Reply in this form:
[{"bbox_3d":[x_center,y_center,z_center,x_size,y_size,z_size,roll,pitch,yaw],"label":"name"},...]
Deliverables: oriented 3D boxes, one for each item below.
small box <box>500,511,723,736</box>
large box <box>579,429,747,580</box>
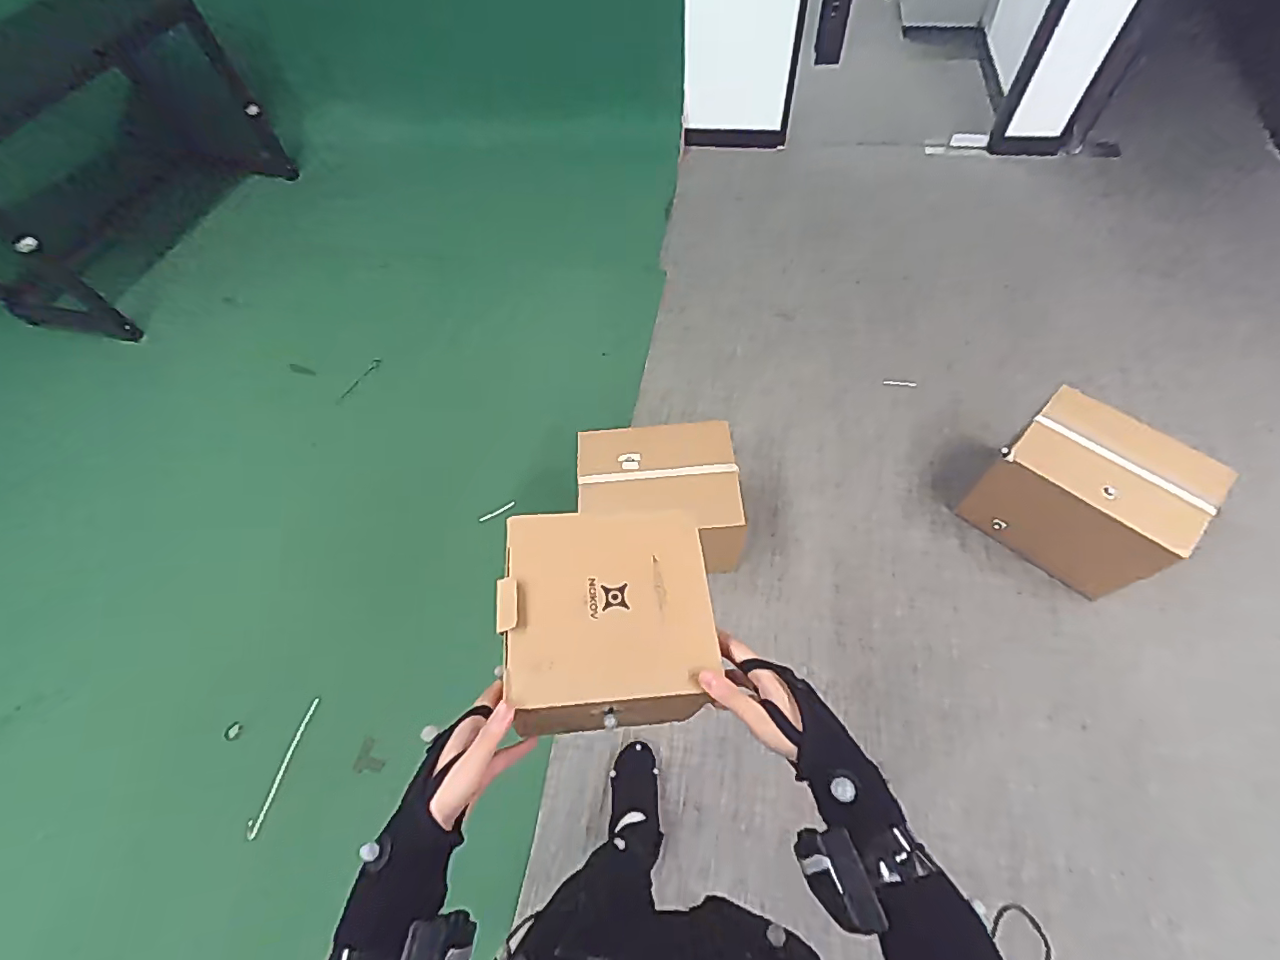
[{"bbox_3d":[-0.034,0.143,0.523,0.179,0.176,0.168,-1,58,-9],"label":"small box"},{"bbox_3d":[0.061,0.092,1.482,0.408,0.320,0.320,-6,58,3],"label":"large box"}]
